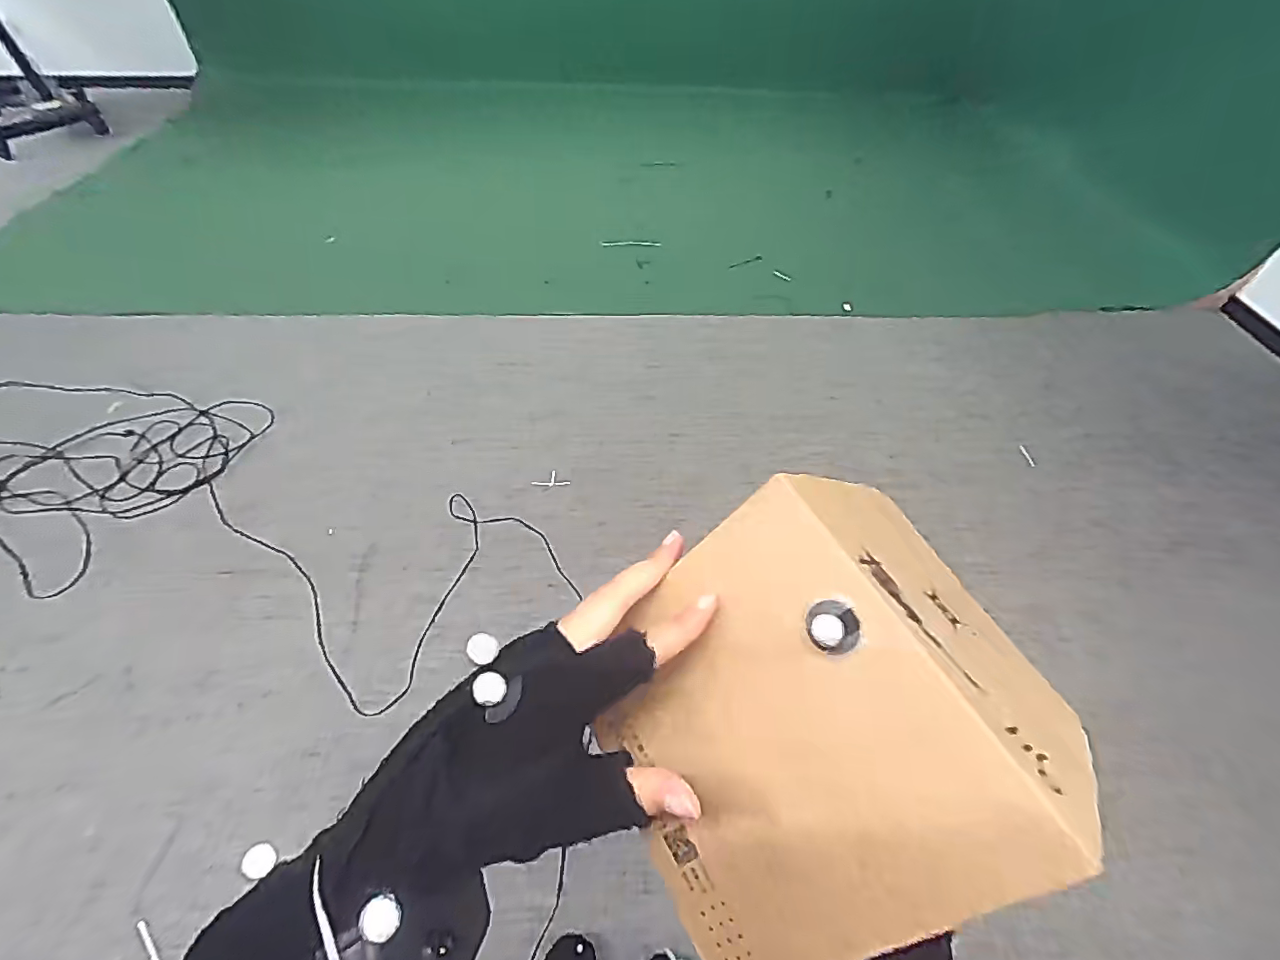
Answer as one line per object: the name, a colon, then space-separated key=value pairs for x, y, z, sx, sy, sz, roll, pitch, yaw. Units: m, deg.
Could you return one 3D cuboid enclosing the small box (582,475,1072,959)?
small box: x=0.100 y=0.119 z=0.313 sx=0.179 sy=0.176 sz=0.168 roll=7 pitch=43 yaw=-52
